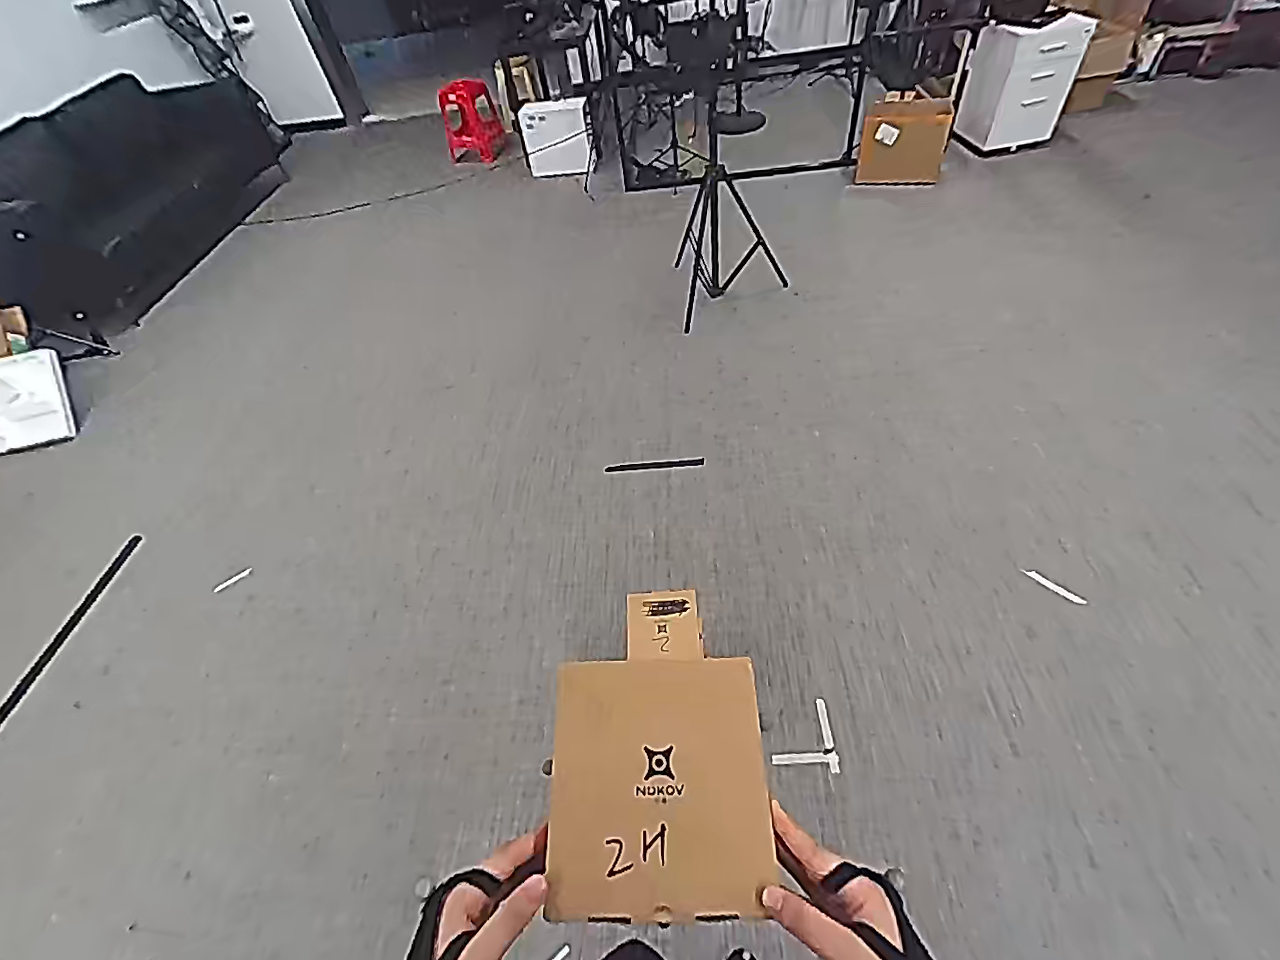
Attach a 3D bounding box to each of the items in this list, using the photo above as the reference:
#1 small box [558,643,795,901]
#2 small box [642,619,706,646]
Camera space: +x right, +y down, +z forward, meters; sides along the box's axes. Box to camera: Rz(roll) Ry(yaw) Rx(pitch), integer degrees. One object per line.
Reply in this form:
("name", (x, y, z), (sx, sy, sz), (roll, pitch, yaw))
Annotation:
("small box", (0.027, 0.257, 0.480), (0.168, 0.176, 0.179), (-3, 57, 2))
("small box", (0.093, 0.485, 1.423), (0.168, 0.176, 0.179), (-5, 50, 5))
